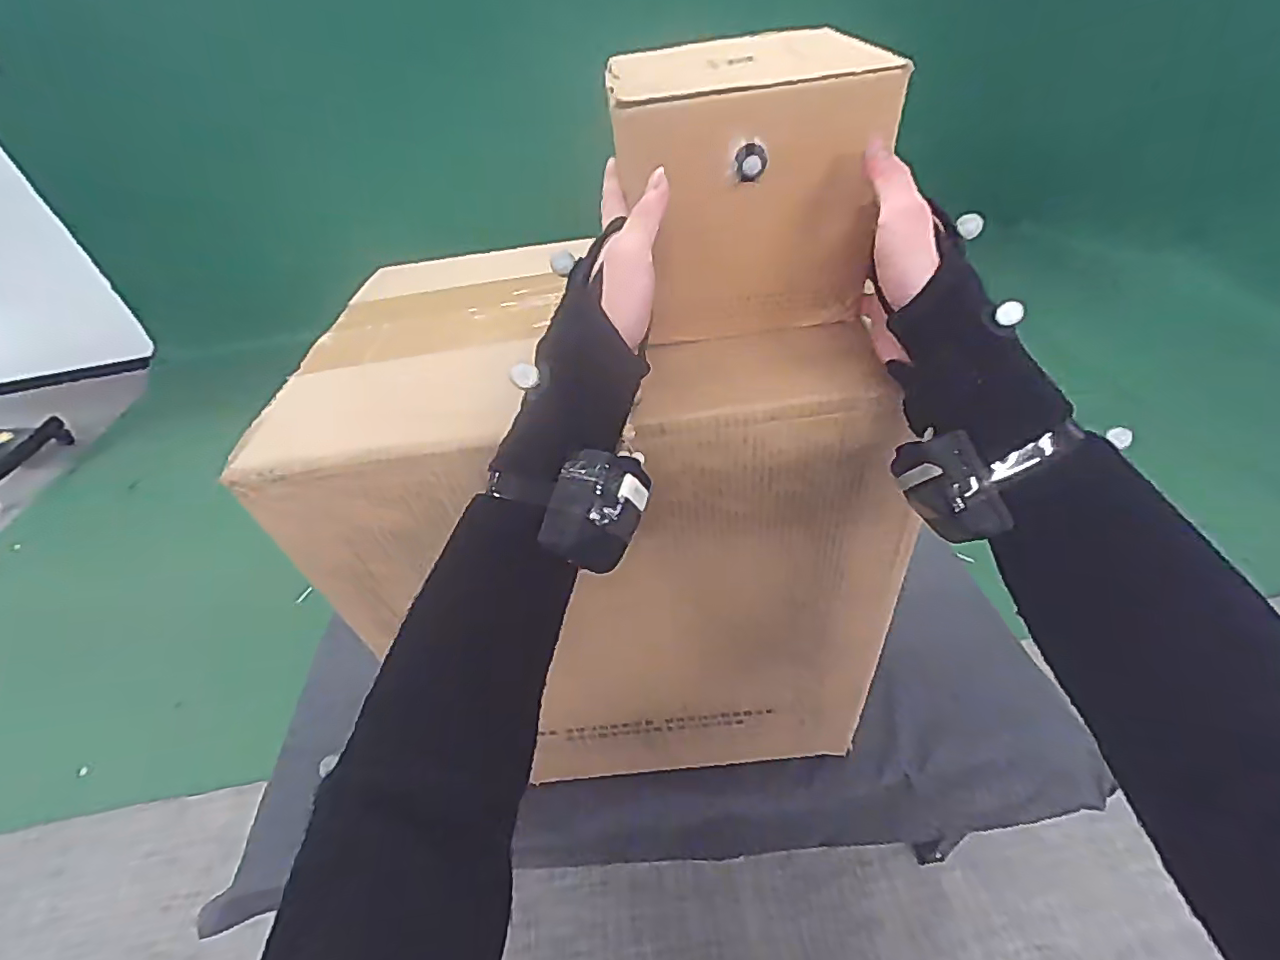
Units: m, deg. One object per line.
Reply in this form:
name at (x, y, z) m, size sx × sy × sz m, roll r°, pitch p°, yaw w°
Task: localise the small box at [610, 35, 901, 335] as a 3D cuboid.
small box at (0.073, -0.231, 0.433) m, size 0.179 × 0.176 × 0.168 m, roll -5°, pitch 46°, yaw 1°
